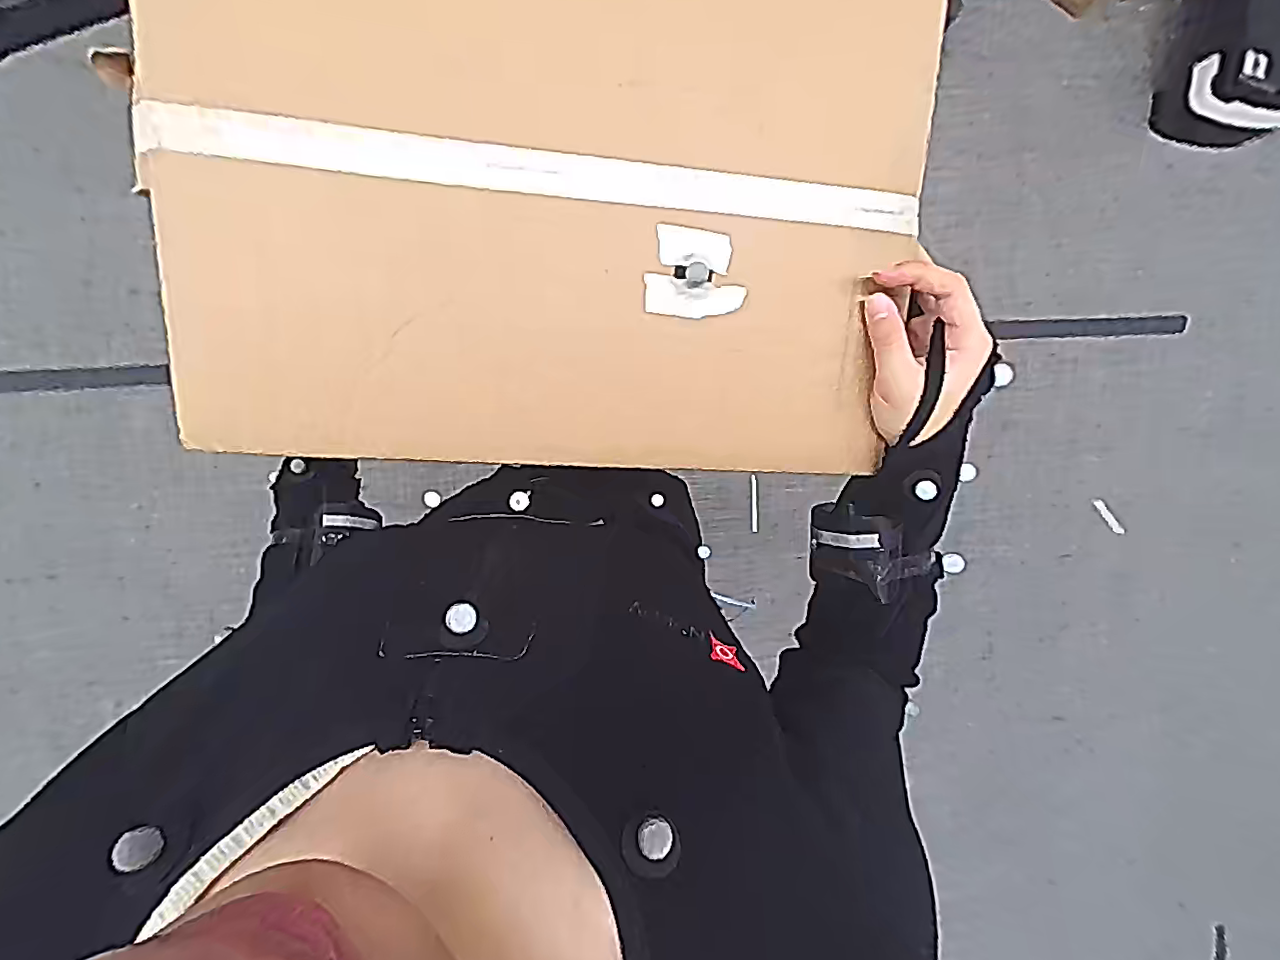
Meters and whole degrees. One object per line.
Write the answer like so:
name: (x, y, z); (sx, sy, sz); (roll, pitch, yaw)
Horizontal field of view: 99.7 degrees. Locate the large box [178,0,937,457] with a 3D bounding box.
large box: (-0.055, -0.195, 0.444); (0.408, 0.320, 0.320); (1, 101, -11)
